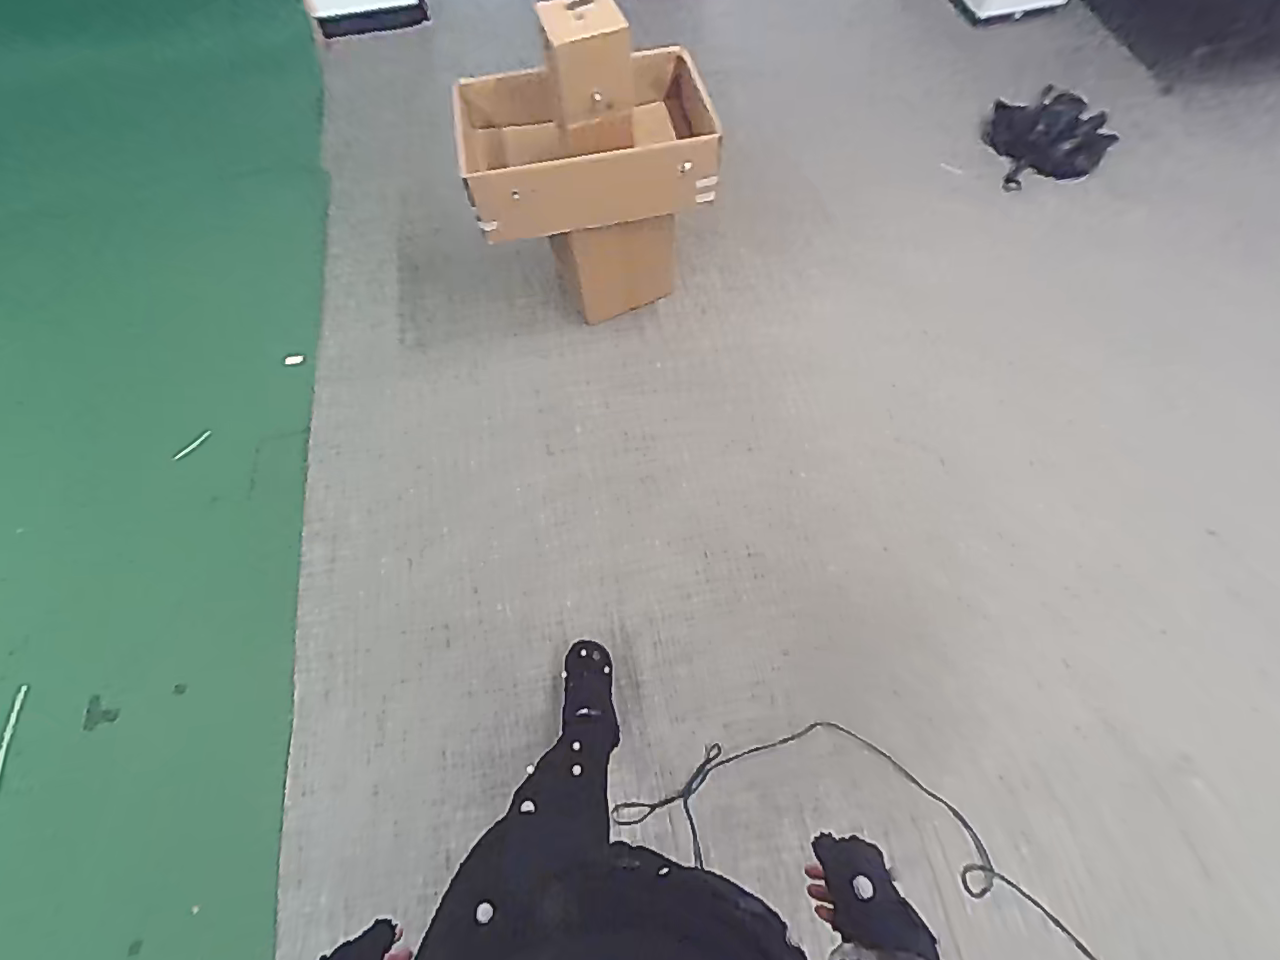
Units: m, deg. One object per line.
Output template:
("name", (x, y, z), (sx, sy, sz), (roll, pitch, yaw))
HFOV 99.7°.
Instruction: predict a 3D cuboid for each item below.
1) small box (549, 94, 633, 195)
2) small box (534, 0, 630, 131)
("small box", (-0.121, -0.869, 1.380), (0.168, 0.176, 0.179), (-18, 66, -5))
("small box", (-0.128, -0.942, 1.233), (0.168, 0.176, 0.179), (-18, 65, -4))
